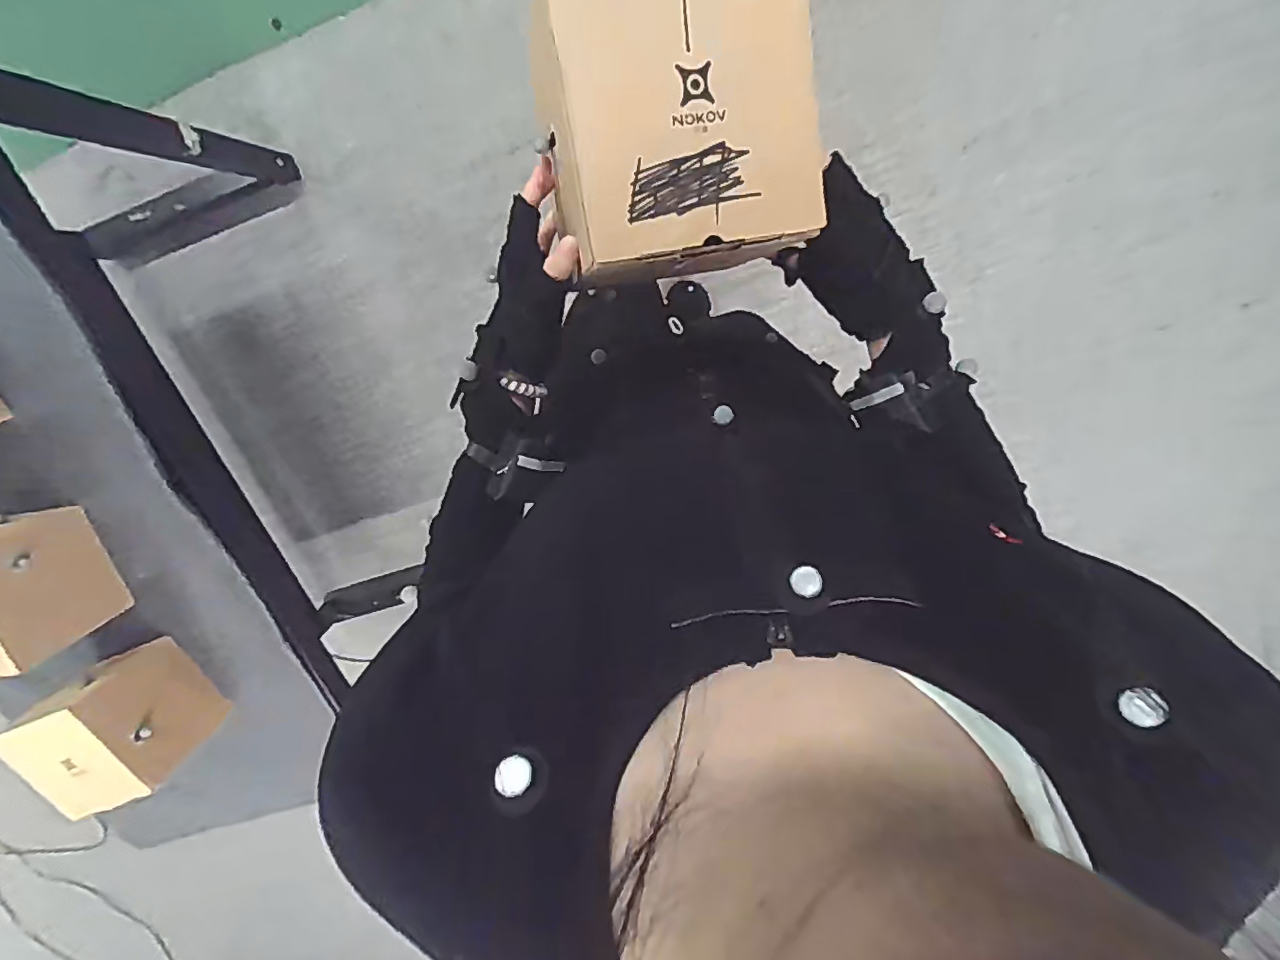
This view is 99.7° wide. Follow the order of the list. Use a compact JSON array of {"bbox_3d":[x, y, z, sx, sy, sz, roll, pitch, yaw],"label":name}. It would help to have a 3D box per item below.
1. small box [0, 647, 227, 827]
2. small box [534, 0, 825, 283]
[{"bbox_3d":[-0.811,0.385,0.839,0.168,0.176,0.179,-22,108,10],"label":"small box"},{"bbox_3d":[0.018,-0.254,0.411,0.168,0.176,0.179,-12,104,-10],"label":"small box"}]
